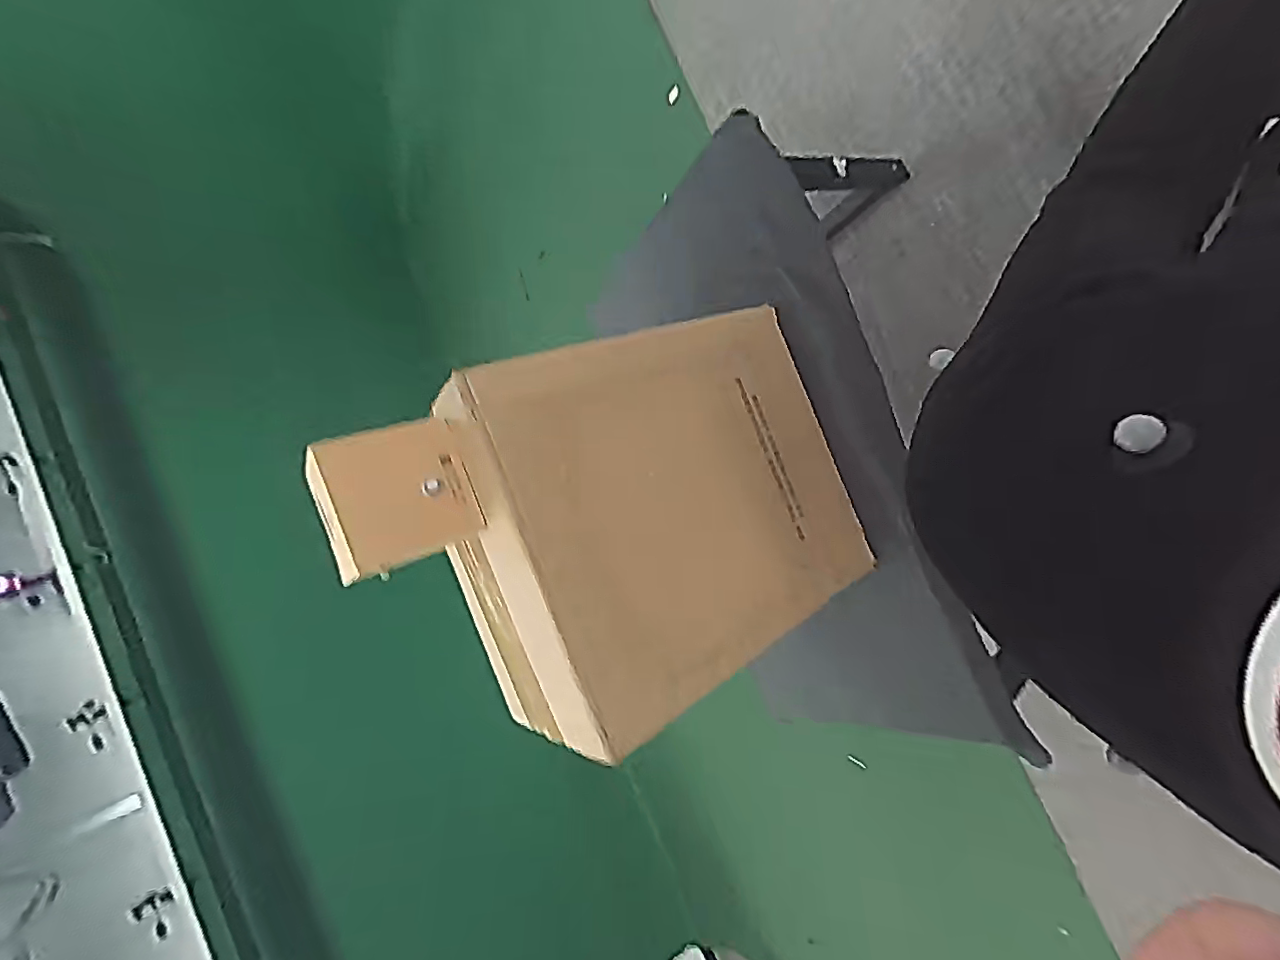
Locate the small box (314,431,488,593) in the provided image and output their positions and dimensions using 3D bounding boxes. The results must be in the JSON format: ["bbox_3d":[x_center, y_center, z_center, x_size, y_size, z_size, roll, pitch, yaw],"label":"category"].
[{"bbox_3d":[-0.334,0.046,0.759,0.179,0.176,0.168,-24,87,54],"label":"small box"}]
